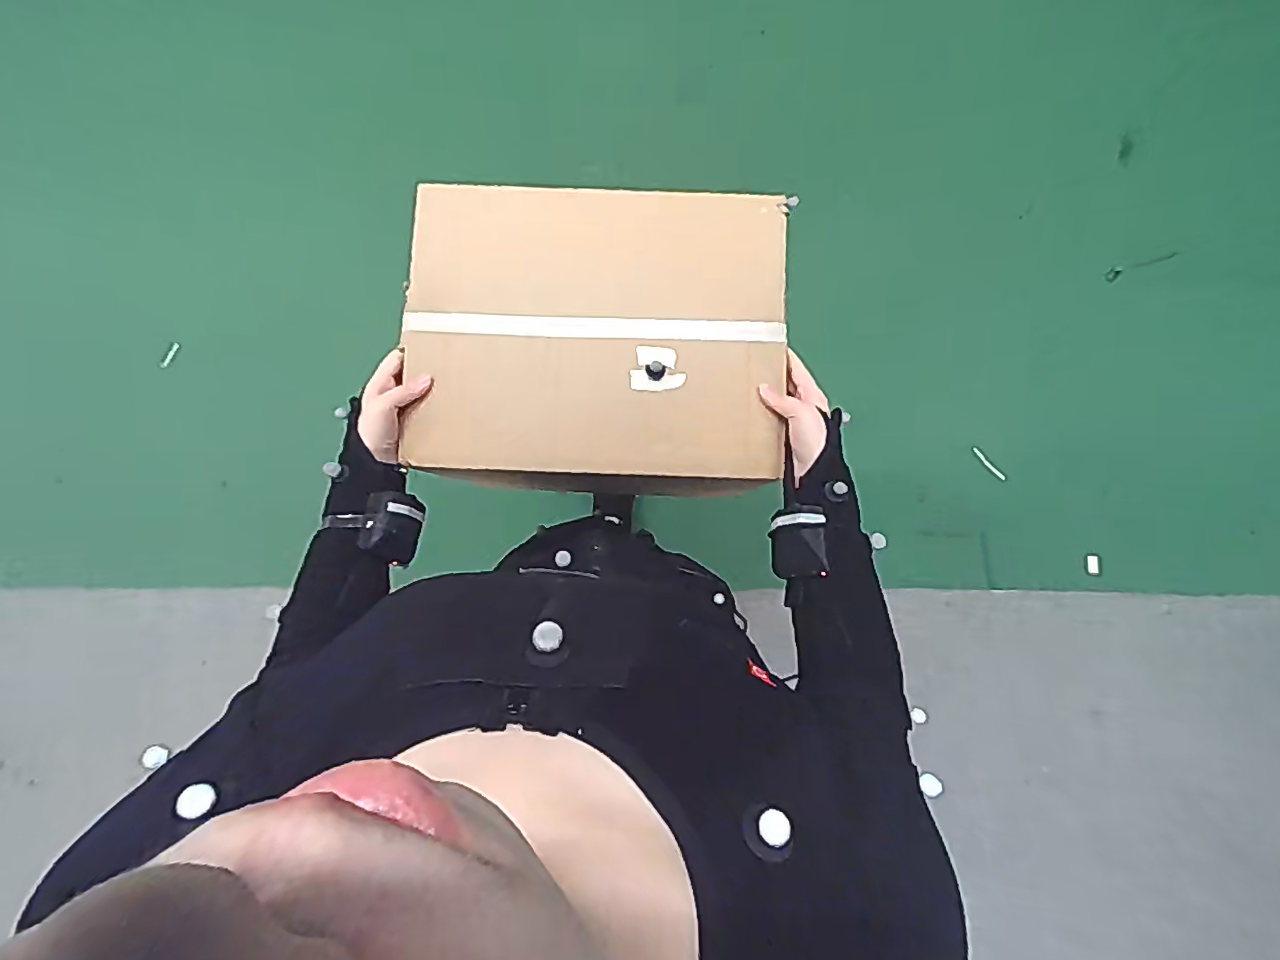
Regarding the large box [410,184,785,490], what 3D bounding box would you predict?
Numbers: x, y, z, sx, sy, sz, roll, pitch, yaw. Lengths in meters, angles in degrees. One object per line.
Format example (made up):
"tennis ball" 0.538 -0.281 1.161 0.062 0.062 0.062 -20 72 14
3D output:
"large box" -0.045 -0.155 0.732 0.408 0.320 0.320 2 85 -1
